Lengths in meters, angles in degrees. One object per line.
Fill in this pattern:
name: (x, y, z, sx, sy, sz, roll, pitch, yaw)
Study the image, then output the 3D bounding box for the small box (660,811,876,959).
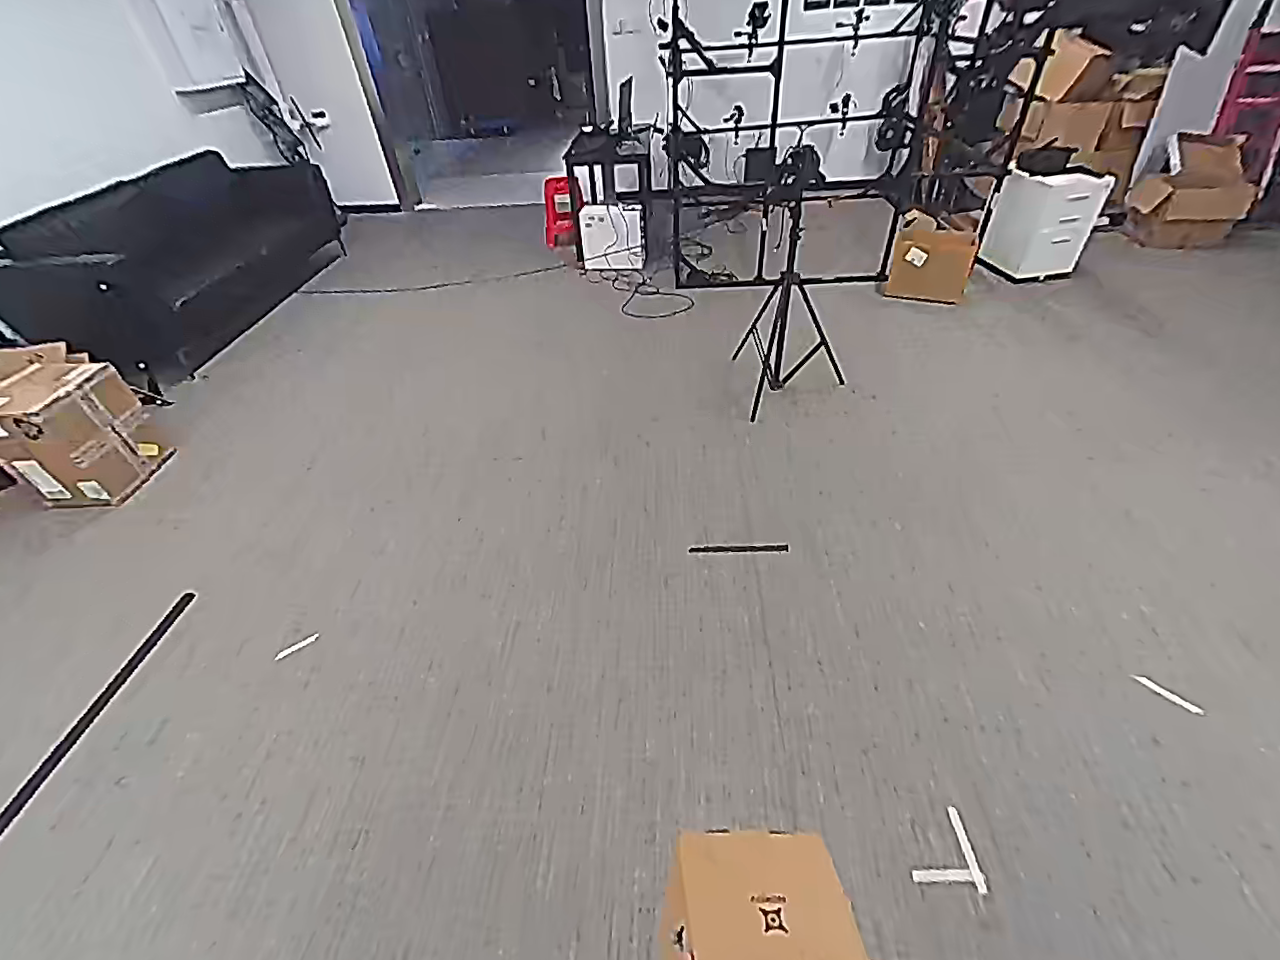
small box: (0.116, 0.476, 0.549, 0.168, 0.176, 0.179, 3, 20, -6)
